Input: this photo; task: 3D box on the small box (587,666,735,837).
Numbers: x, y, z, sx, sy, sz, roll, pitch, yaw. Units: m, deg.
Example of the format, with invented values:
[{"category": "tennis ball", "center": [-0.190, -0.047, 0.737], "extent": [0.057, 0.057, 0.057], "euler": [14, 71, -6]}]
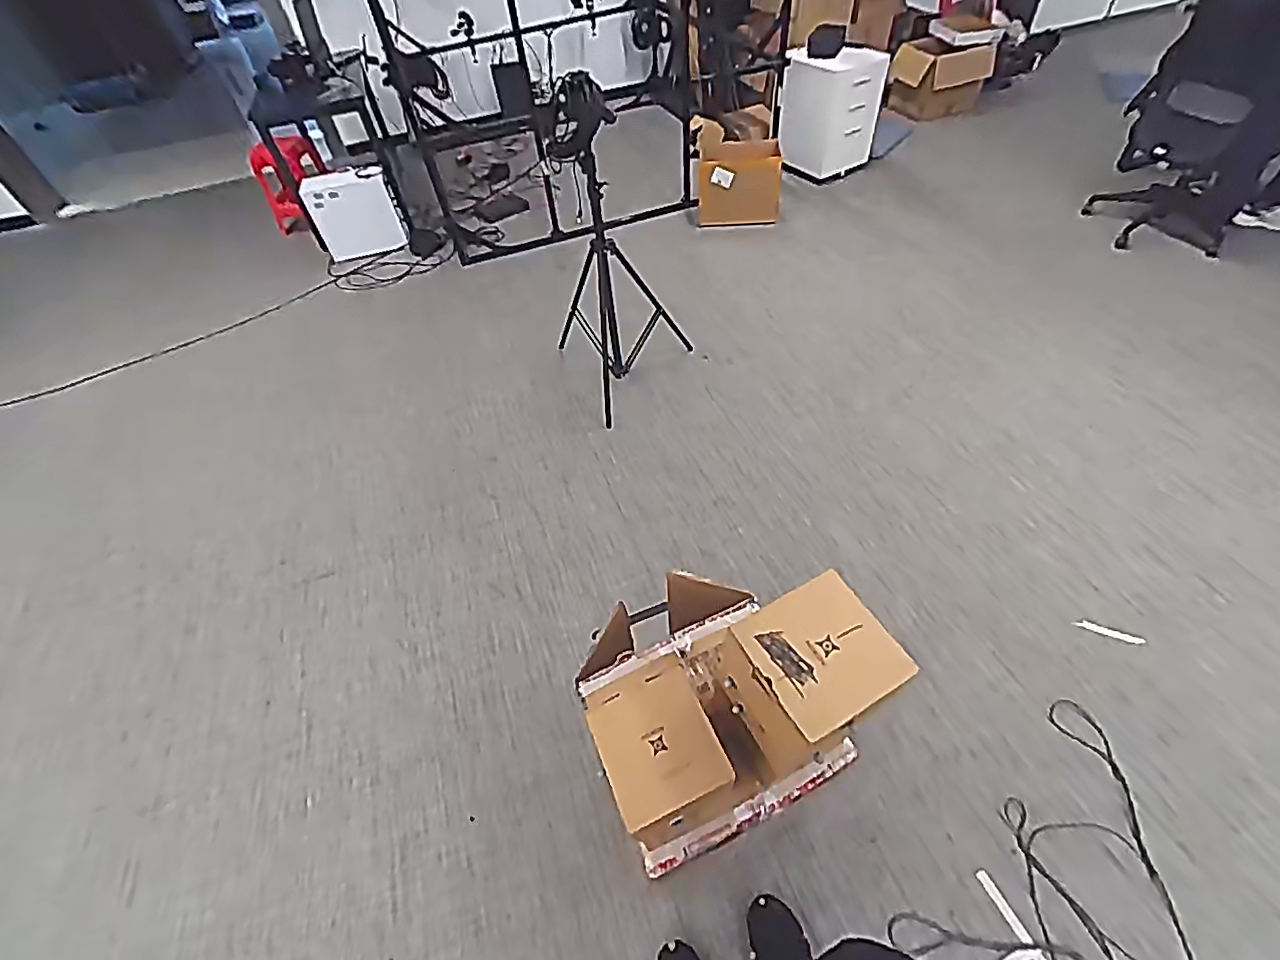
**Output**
[{"category": "small box", "center": [0.032, 0.431, 0.853], "extent": [0.168, 0.176, 0.179], "euler": [-23, 55, -11]}]

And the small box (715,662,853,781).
[{"category": "small box", "center": [0.239, 0.363, 0.890], "extent": [0.179, 0.176, 0.168], "euler": [-25, 55, -16]}]

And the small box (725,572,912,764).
[{"category": "small box", "center": [0.232, 0.266, 0.756], "extent": [0.179, 0.176, 0.168], "euler": [-25, 56, -15]}]
